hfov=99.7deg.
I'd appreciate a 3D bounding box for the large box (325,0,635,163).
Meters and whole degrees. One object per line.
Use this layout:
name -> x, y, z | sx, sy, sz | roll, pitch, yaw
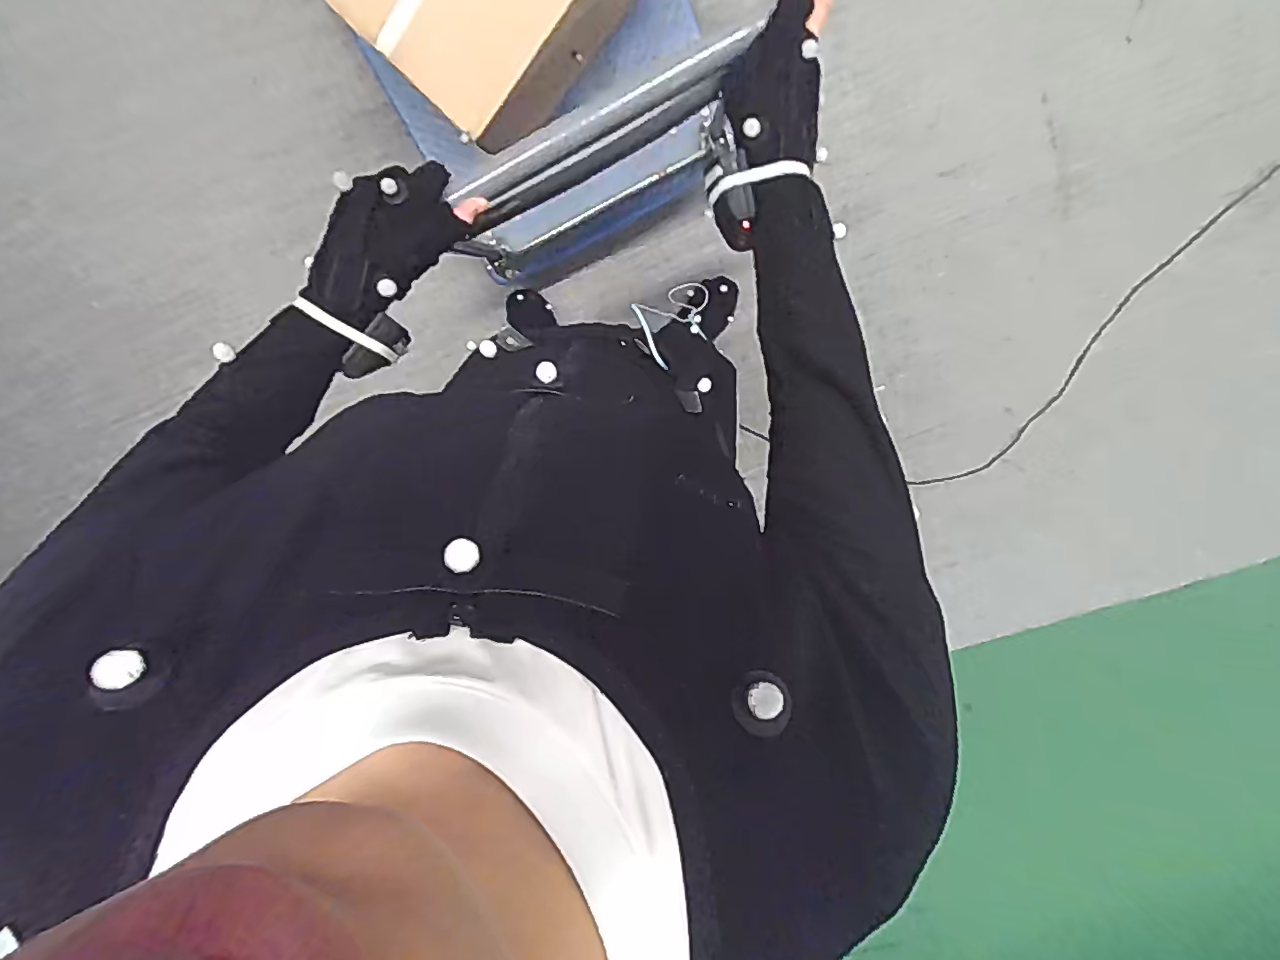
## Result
large box -> -0.213, -0.791, 0.844 | 0.320, 0.320, 0.408 | 39, 110, -16
